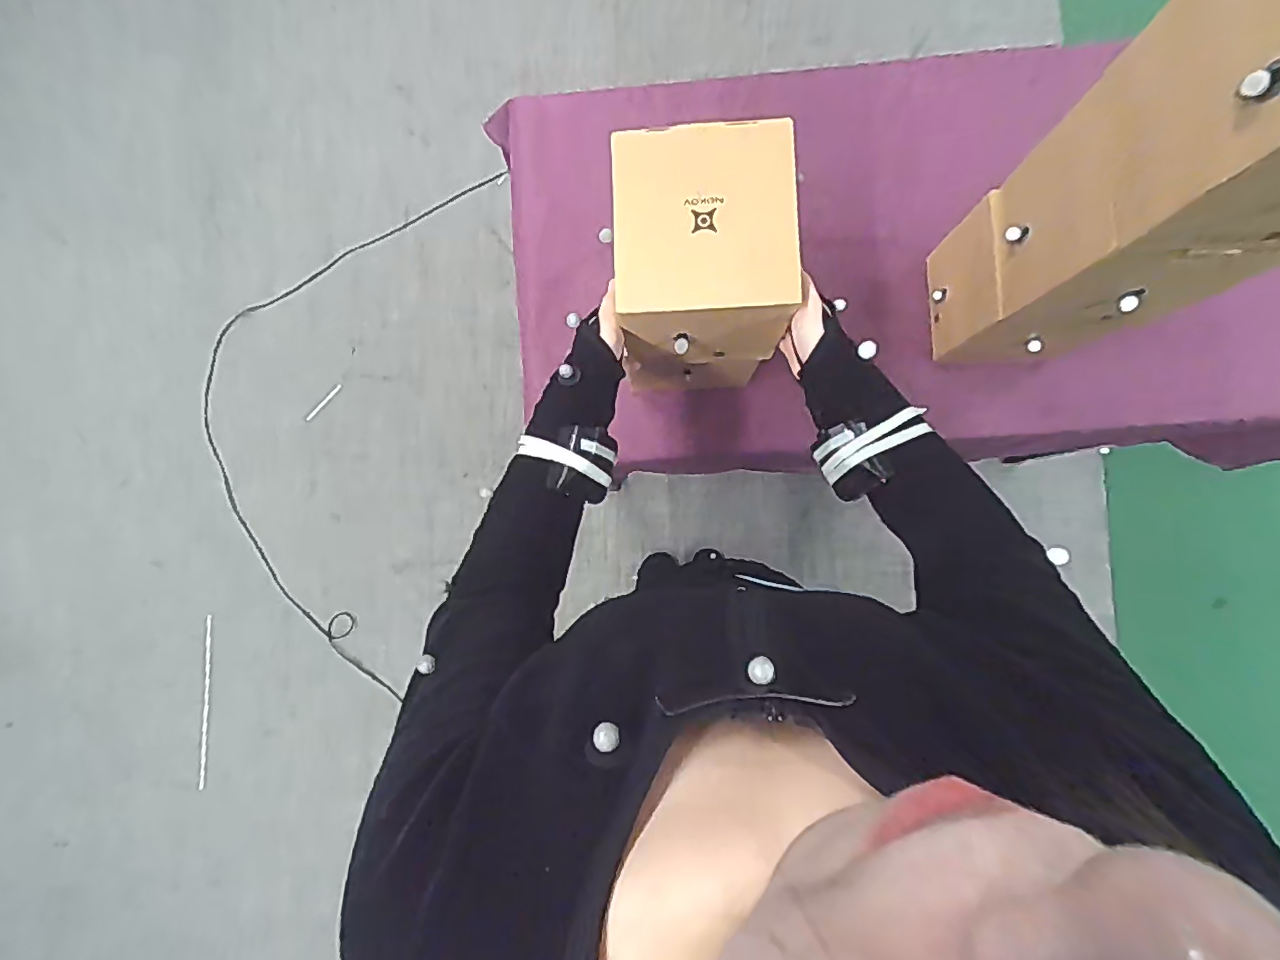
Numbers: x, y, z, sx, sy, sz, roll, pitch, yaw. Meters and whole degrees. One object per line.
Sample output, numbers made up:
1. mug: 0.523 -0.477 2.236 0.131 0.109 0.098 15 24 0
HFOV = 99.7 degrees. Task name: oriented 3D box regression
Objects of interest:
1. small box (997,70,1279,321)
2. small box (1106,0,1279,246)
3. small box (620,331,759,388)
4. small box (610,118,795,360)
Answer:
1. small box: 0.502 -0.277 0.560 0.168 0.176 0.179 3 85 3
2. small box: 0.492 -0.291 0.396 0.168 0.176 0.179 1 84 3
3. small box: 0.064 -0.228 0.740 0.179 0.176 0.168 -2 84 3
4. small box: 0.061 -0.229 0.562 0.168 0.176 0.179 -2 85 4
